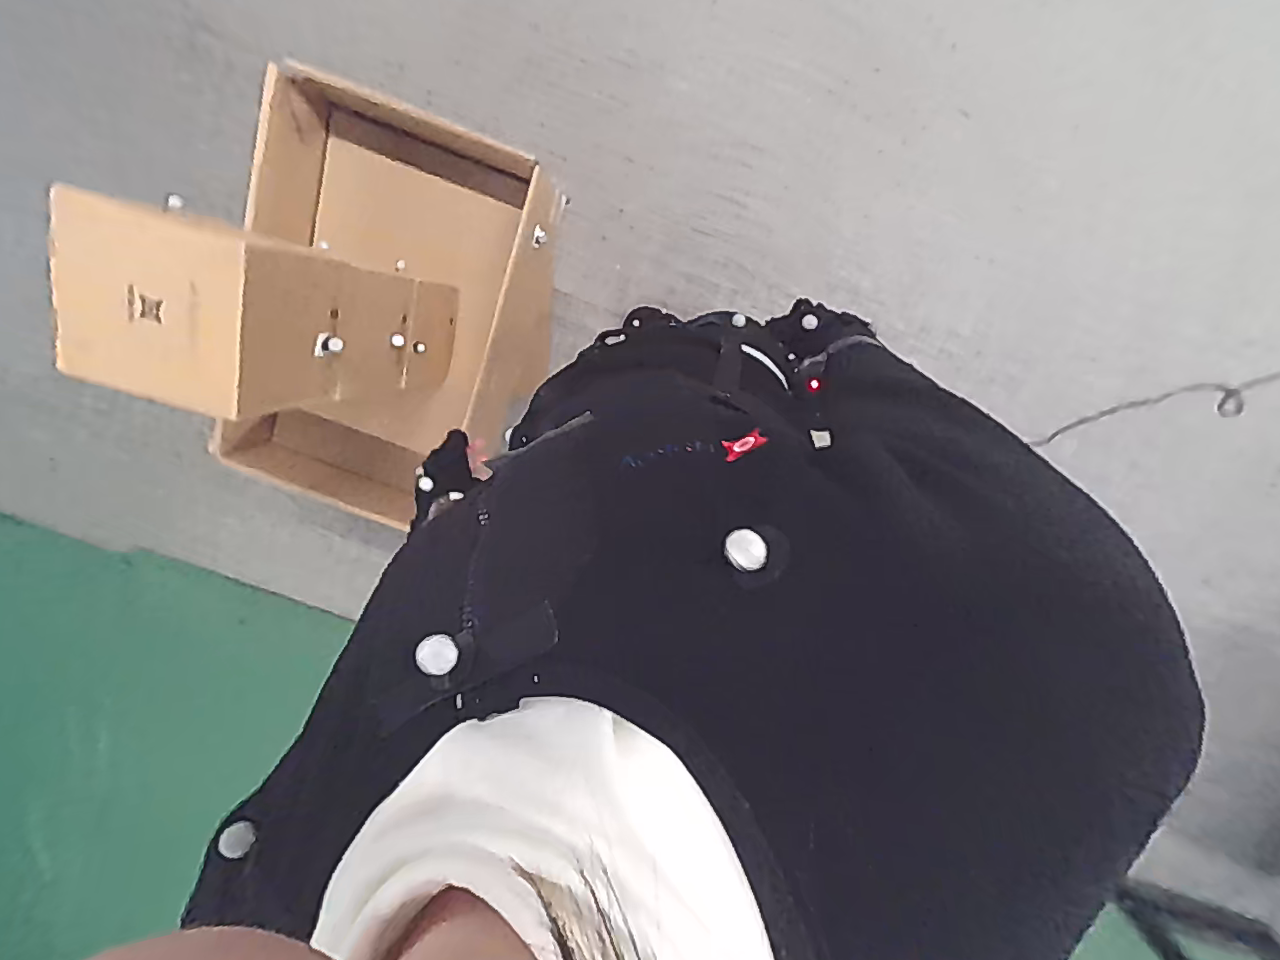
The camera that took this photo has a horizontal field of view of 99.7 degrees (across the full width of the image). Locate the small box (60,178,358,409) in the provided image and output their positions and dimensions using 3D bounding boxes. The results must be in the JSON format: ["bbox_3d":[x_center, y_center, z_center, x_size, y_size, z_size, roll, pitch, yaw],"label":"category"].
[{"bbox_3d":[-0.433,-0.186,0.567,0.179,0.176,0.168,16,107,-2],"label":"small box"}]

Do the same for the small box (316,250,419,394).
[{"bbox_3d":[-0.426,-0.224,0.724,0.179,0.176,0.168,15,106,-1],"label":"small box"}]

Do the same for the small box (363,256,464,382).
[{"bbox_3d":[-0.413,-0.266,0.882,0.179,0.176,0.168,15,107,0],"label":"small box"}]
